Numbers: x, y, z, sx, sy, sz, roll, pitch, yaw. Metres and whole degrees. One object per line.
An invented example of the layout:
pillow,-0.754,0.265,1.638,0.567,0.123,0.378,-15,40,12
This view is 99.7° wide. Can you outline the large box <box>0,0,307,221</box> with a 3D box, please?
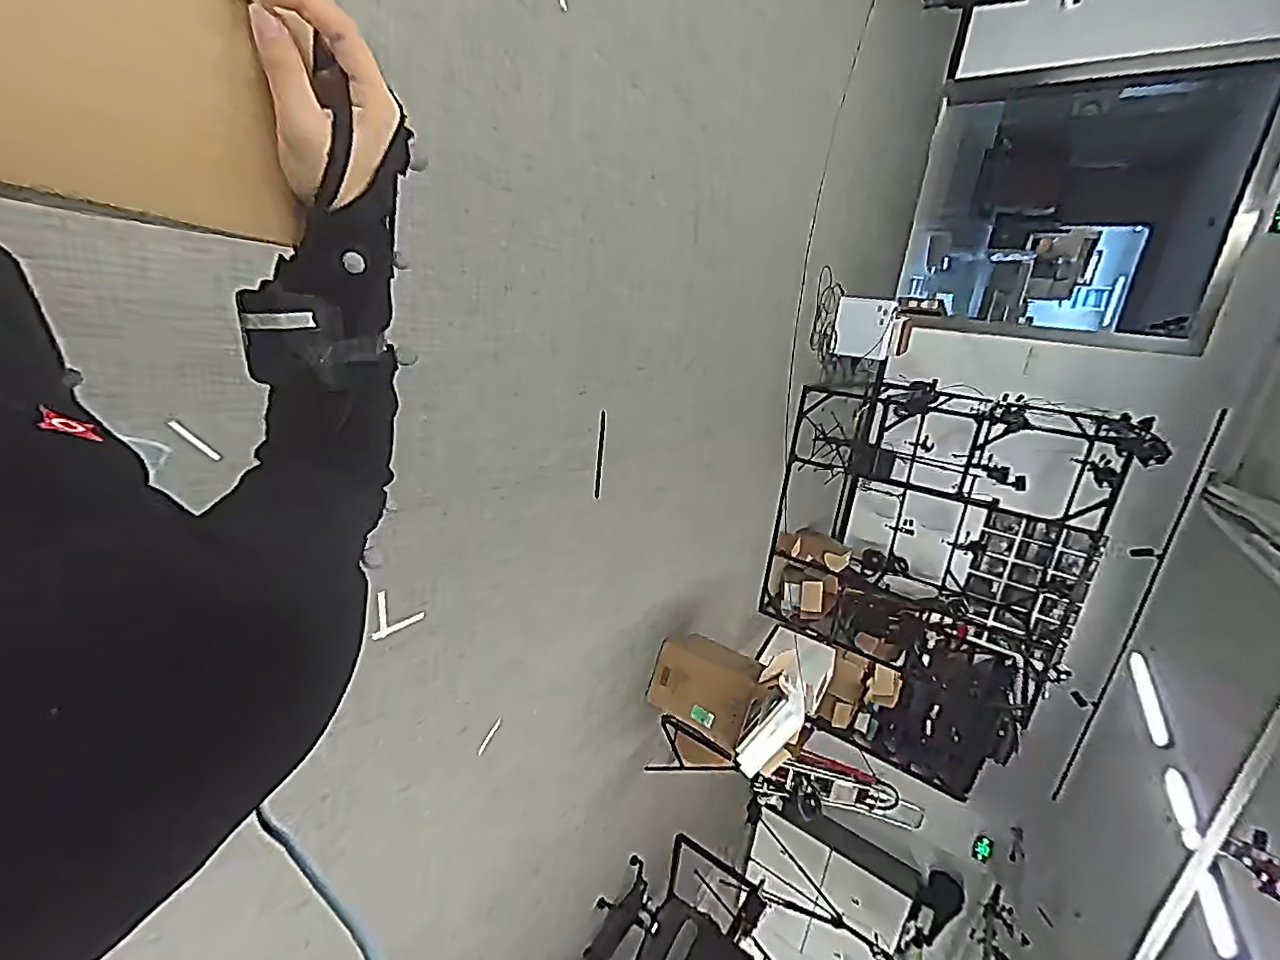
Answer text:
large box,-0.408,-0.314,0.192,0.408,0.320,0.320,-16,122,-59
